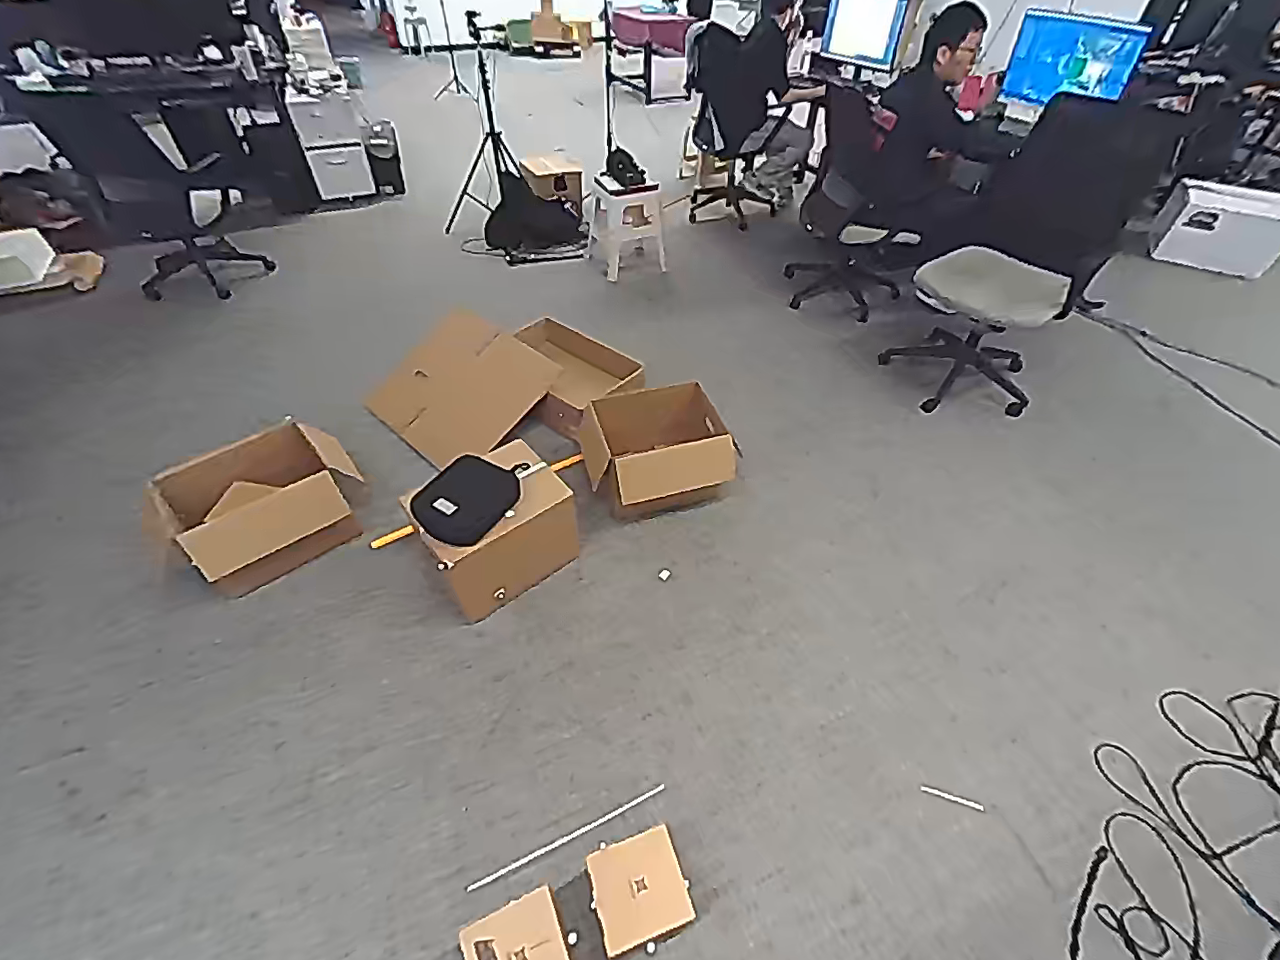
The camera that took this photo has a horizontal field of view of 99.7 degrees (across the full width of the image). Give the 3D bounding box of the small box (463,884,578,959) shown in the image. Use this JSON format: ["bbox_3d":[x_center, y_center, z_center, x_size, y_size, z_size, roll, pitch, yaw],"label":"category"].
[{"bbox_3d":[-0.218,0.920,1.033,0.179,0.176,0.168,-18,49,-17],"label":"small box"}]

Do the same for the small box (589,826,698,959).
[{"bbox_3d":[0.004,0.844,1.107,0.179,0.176,0.168,-15,48,-12],"label":"small box"}]
